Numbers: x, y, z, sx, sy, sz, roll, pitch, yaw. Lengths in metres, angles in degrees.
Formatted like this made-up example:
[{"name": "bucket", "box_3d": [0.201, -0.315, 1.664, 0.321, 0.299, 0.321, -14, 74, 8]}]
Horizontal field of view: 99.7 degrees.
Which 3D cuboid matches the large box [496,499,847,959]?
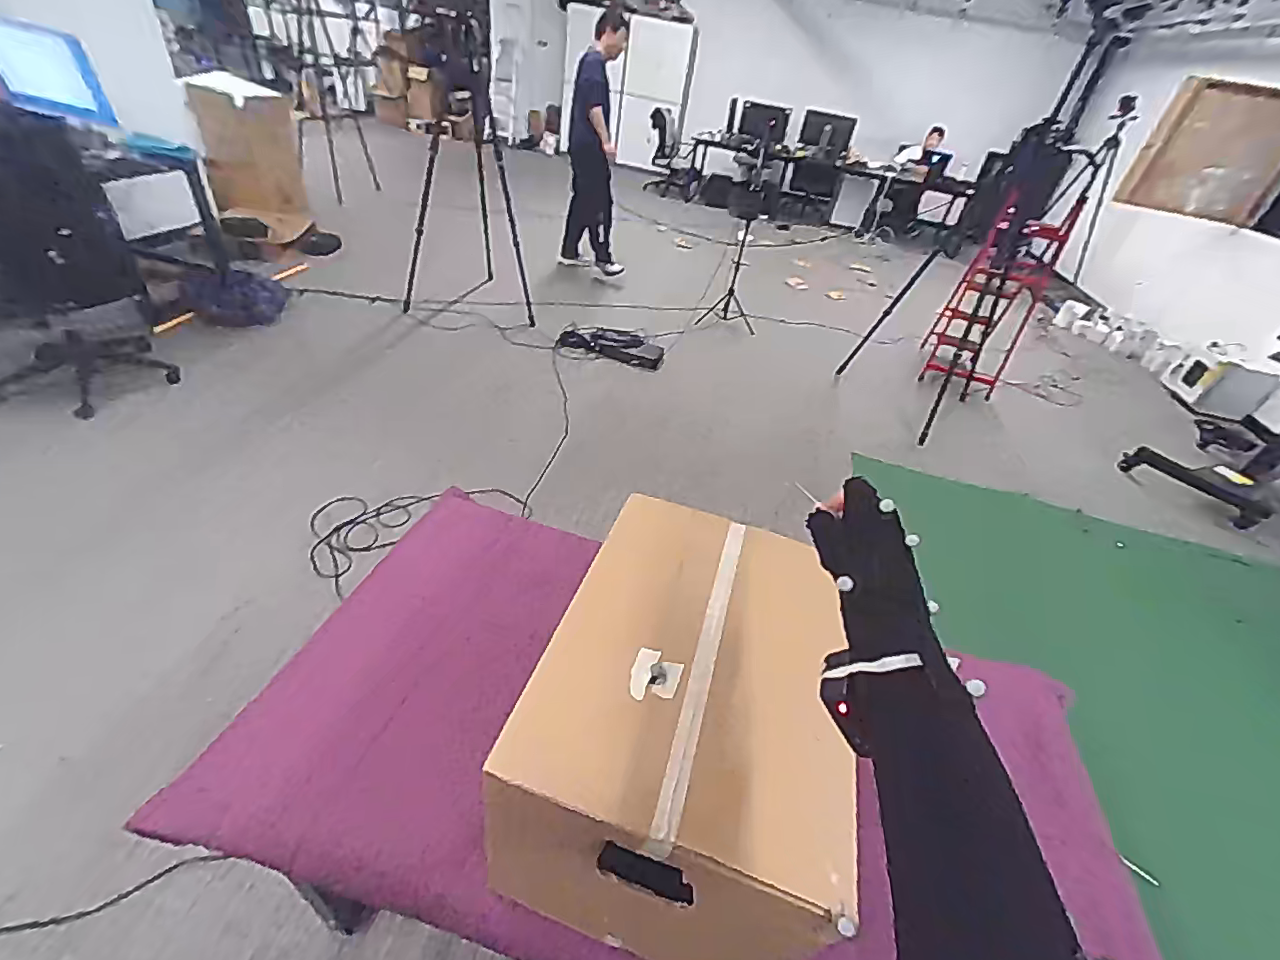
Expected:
[{"name": "large box", "box_3d": [0.049, 0.297, 0.687, 0.320, 0.320, 0.408, 18, 39, 9]}]
